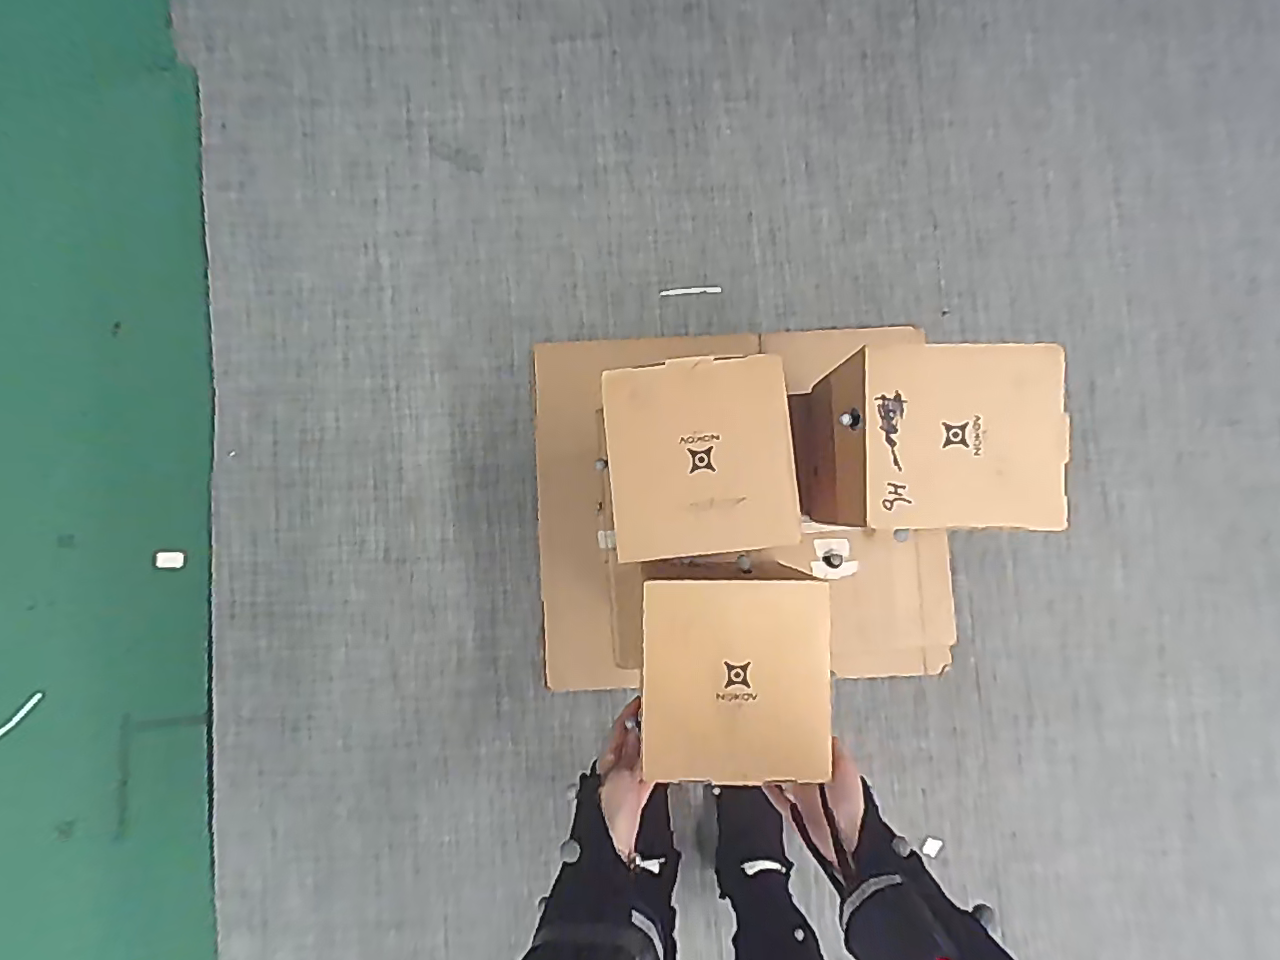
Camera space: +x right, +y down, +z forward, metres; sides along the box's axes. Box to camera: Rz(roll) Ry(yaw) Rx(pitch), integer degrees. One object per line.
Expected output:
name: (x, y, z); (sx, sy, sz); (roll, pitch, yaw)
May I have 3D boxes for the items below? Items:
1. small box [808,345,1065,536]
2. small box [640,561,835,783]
small box: (0.286, -0.032, 0.554); (0.179, 0.176, 0.168); (1, 87, 1)
small box: (0.085, 0.176, 0.546); (0.168, 0.176, 0.179); (0, 88, -1)
